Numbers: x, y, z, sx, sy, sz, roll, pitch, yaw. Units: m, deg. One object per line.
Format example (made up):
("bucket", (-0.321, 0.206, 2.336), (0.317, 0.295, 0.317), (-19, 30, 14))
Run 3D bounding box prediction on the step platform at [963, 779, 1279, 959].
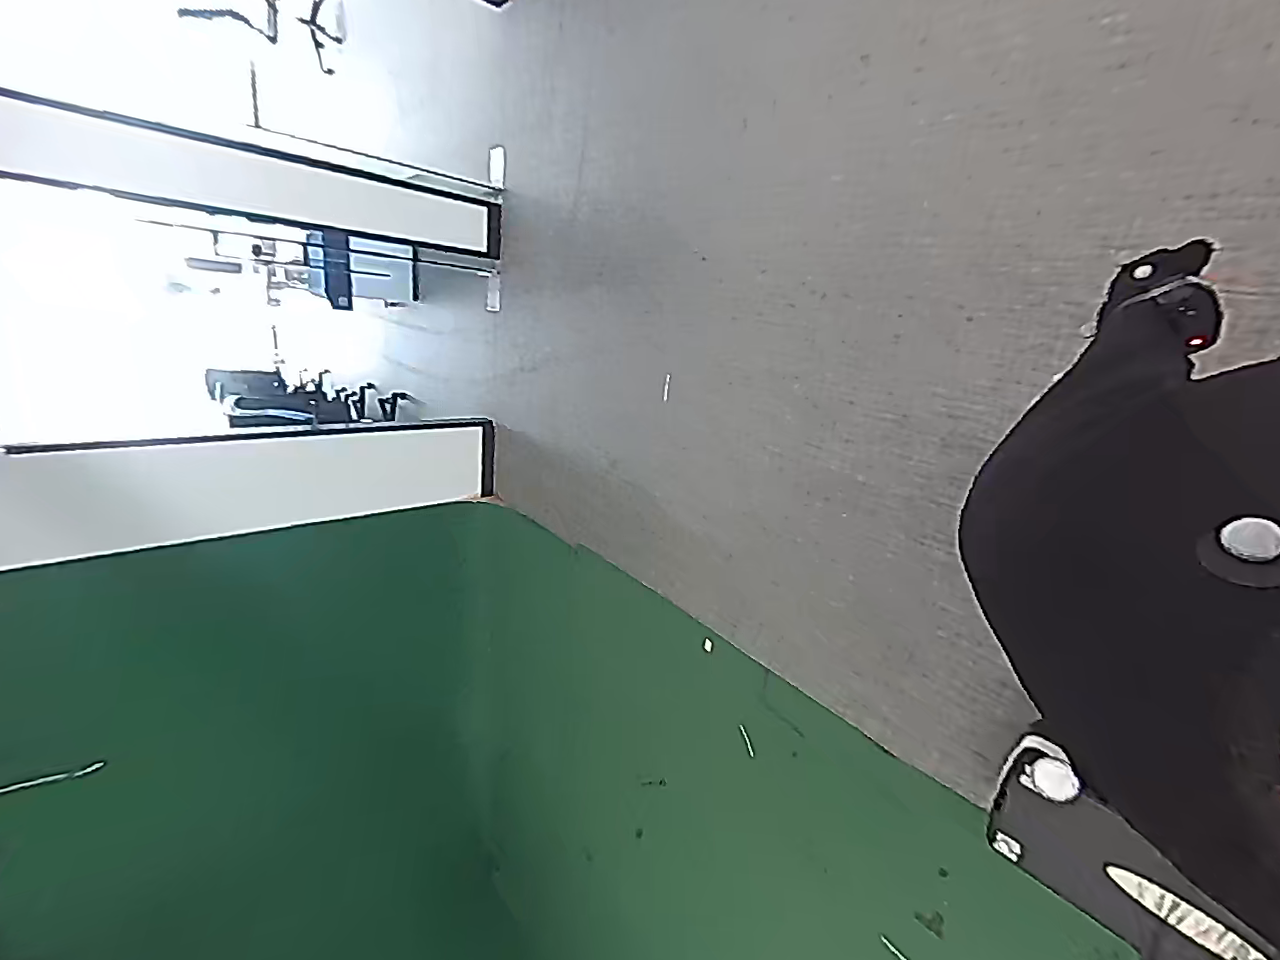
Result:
("step platform", (0.975, 0.863, 0.933), (0.684, 0.204, 0.286), (23, 114, 43))
